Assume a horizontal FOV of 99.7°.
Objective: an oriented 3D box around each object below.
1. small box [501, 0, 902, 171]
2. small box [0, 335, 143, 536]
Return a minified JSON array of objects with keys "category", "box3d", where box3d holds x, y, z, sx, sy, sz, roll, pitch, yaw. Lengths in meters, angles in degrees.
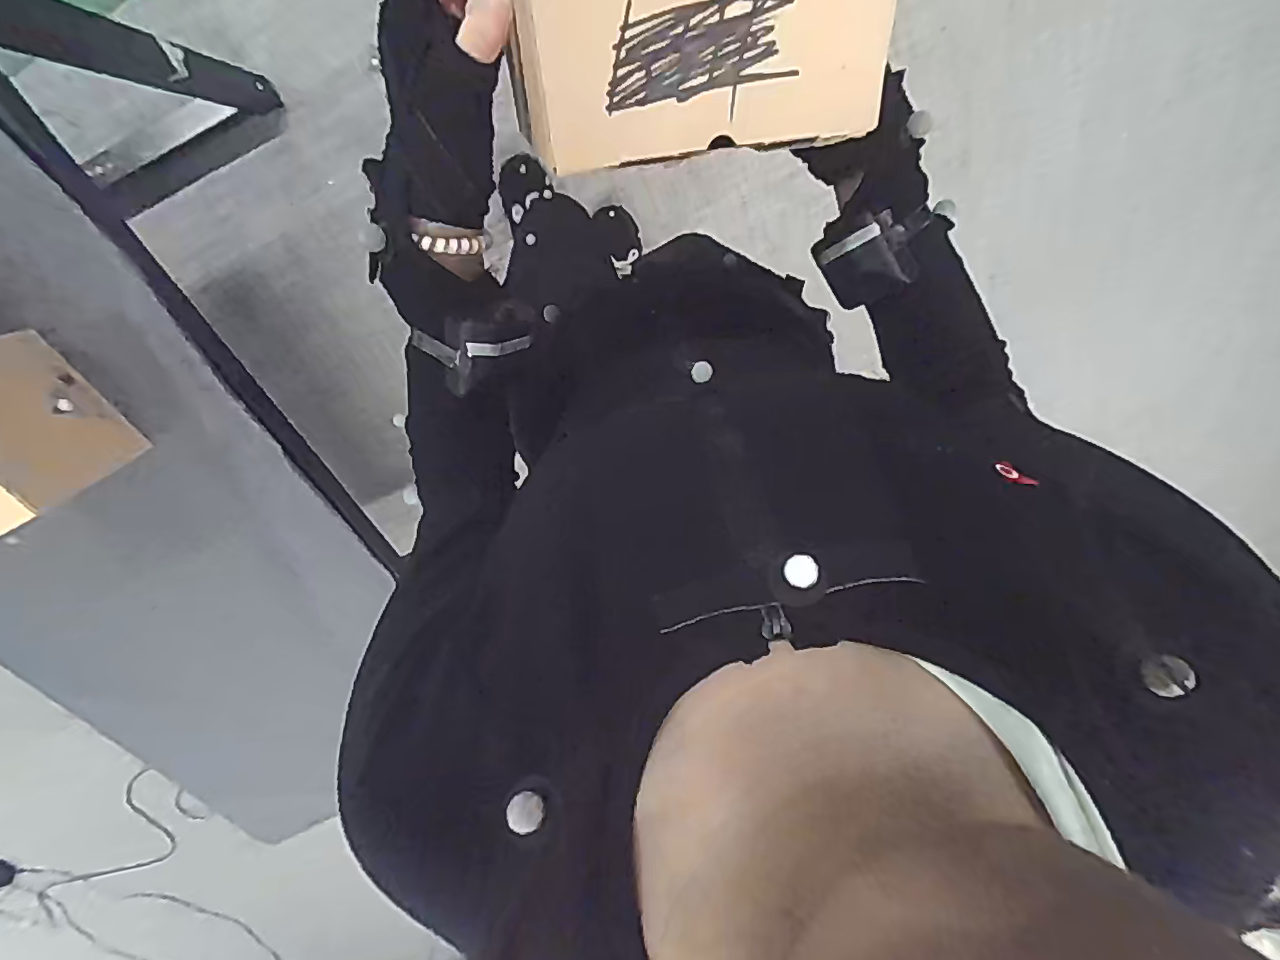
[{"category":"small box","box3d":[0.016,-0.274,0.268,0.168,0.176,0.179,-13,130,-10]},{"category":"small box","box3d":[-0.709,-0.031,0.576,0.179,0.176,0.168,-25,118,7]}]
